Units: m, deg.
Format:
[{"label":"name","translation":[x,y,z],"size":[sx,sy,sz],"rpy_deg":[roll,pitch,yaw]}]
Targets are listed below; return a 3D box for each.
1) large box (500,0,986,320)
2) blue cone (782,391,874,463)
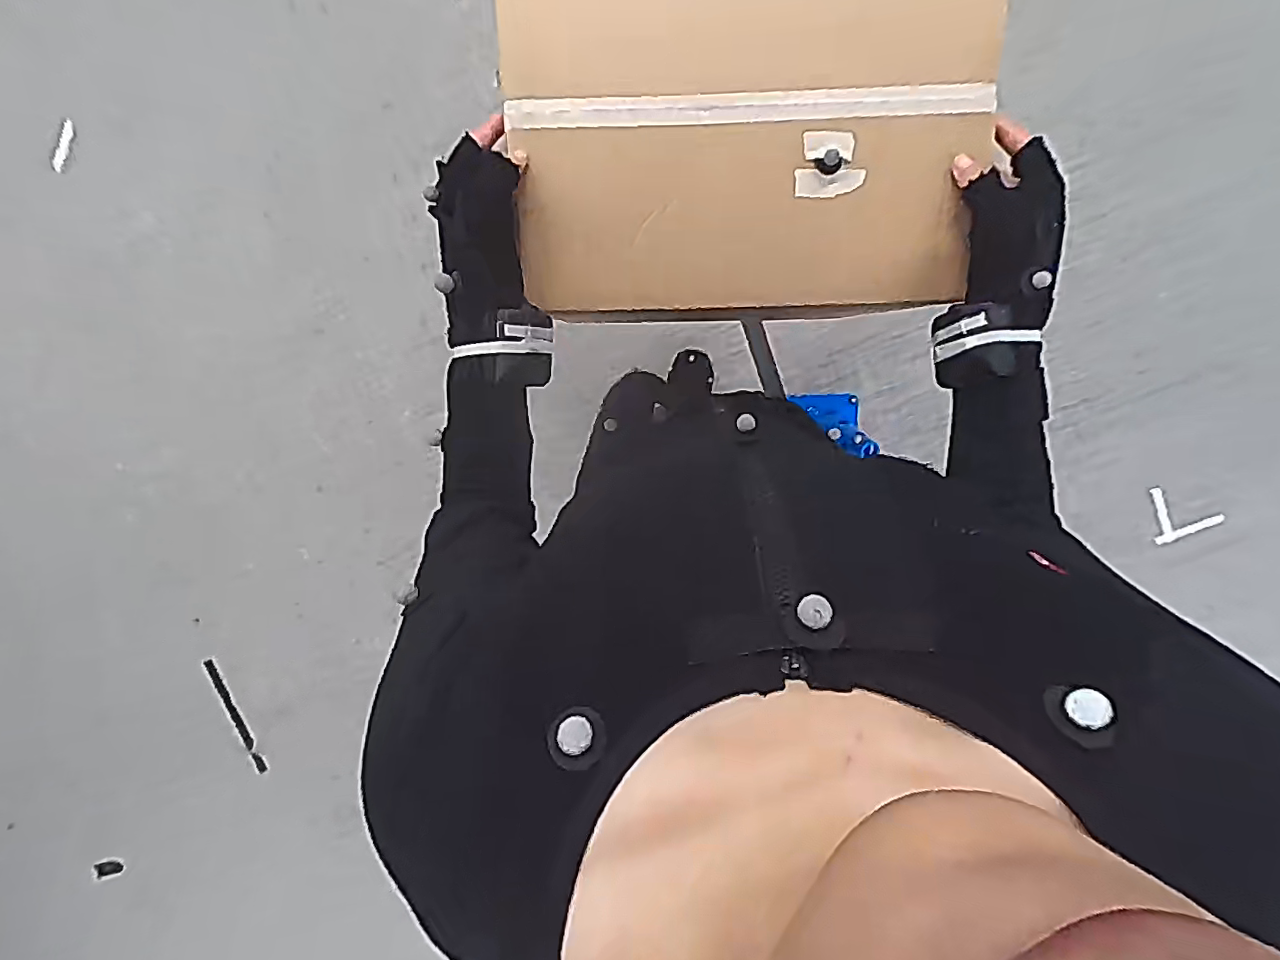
[{"label":"large box","translation":[0.085,-0.355,0.605],"size":[0.408,0.320,0.320],"rpy_deg":[-1,104,0]},{"label":"blue cone","translation":[0.465,-0.111,1.275],"size":[0.193,0.380,0.192],"rpy_deg":[0,100,2]}]
